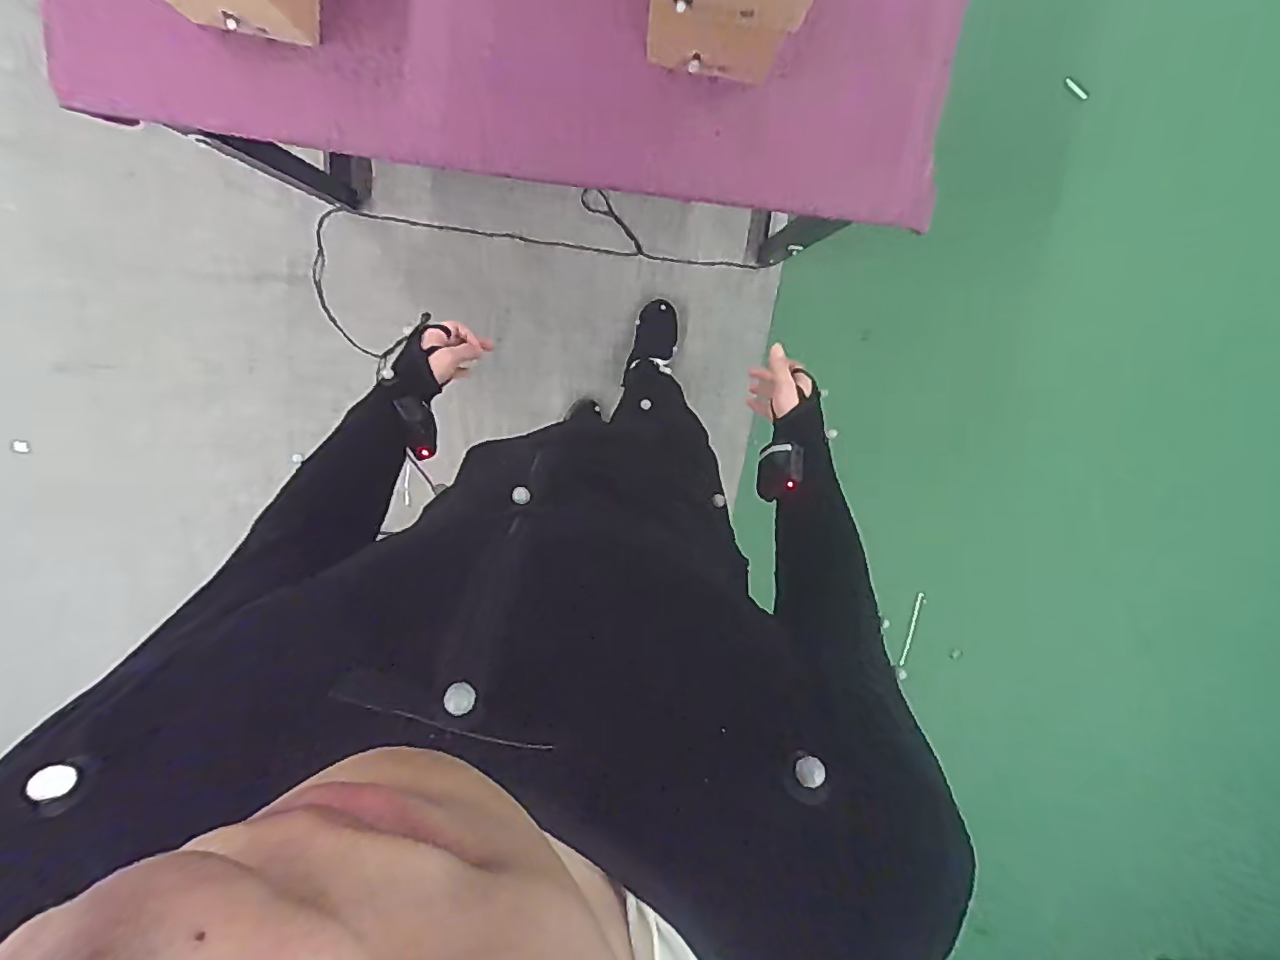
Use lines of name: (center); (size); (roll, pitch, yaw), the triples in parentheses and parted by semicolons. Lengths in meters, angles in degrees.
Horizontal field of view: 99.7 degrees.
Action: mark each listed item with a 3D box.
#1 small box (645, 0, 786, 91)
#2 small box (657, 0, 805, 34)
small box: (0.099, -0.620, 0.656); (0.168, 0.176, 0.179); (9, 103, -3)
small box: (0.098, -0.564, 0.501); (0.168, 0.176, 0.179); (7, 101, -2)
